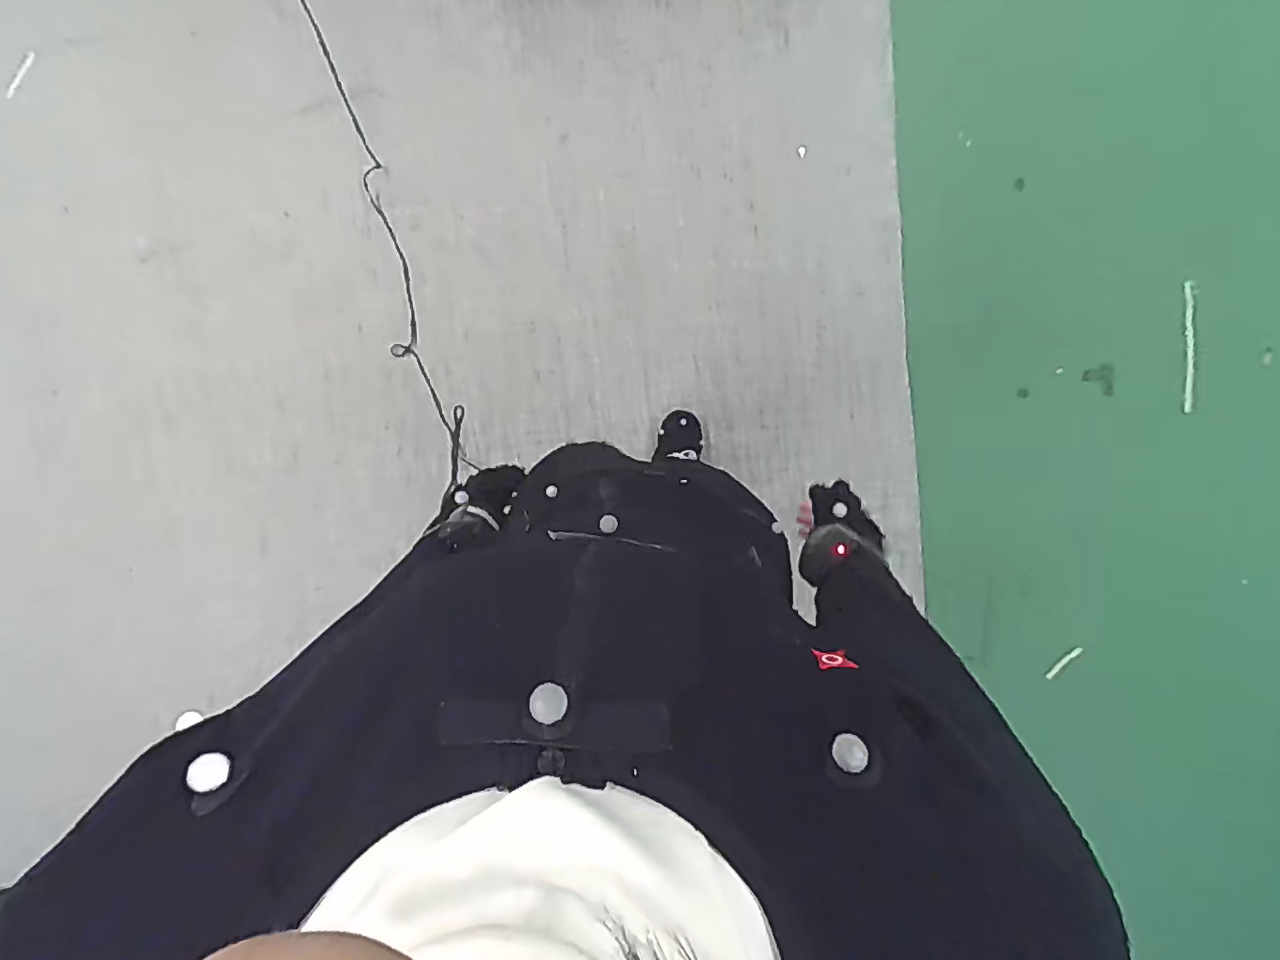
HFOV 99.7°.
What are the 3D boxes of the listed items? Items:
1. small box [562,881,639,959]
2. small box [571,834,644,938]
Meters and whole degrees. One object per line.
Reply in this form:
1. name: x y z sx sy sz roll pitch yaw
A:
1. small box: -0.090 1.111 1.296 0.168 0.176 0.179 -2 94 2
2. small box: -0.083 1.090 1.457 0.179 0.176 0.168 0 95 4
